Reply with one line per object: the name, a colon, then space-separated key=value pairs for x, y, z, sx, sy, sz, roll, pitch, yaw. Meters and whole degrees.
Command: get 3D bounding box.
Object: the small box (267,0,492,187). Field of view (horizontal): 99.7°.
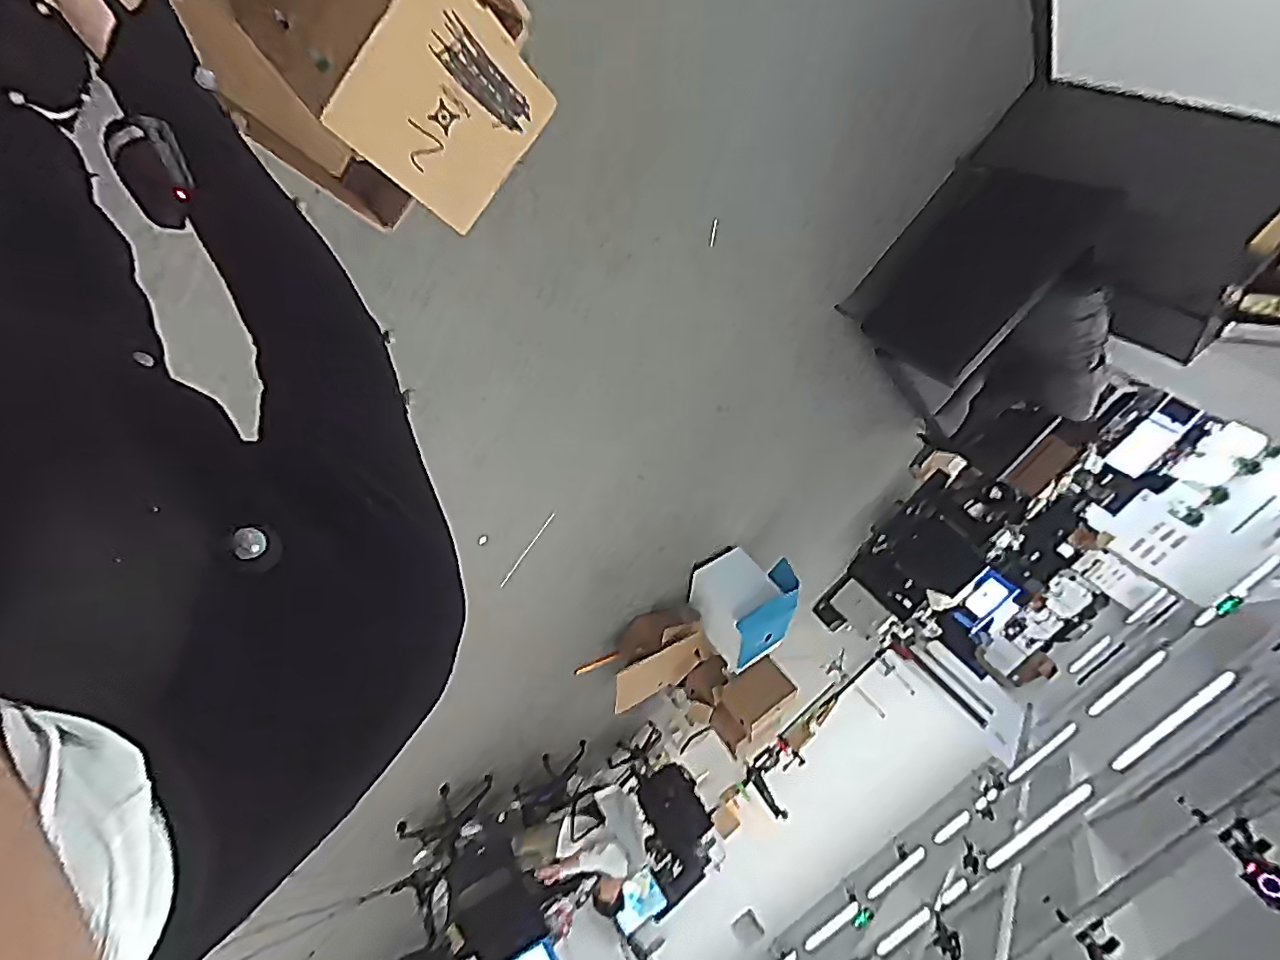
small box: x=-0.321 y=-0.507 z=0.658 sx=0.179 sy=0.176 sz=0.168 roll=-49 pitch=146 yaw=10
